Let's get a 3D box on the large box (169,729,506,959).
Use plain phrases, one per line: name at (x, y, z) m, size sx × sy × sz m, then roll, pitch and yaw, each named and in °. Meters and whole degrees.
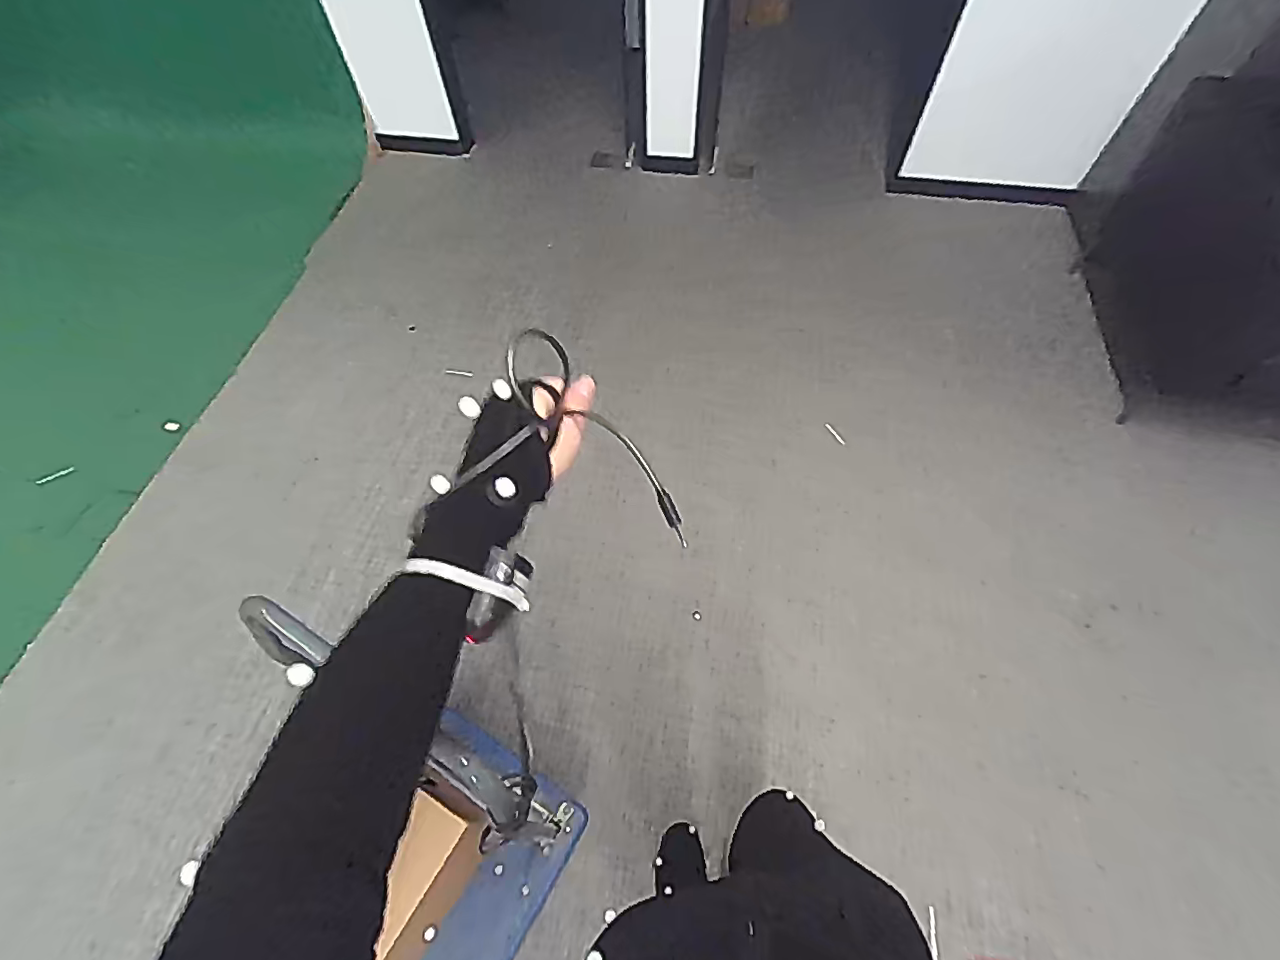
large box at (-0.517, 0.749, 1.022) m, size 0.320 × 0.320 × 0.408 m, roll 26°, pitch 64°, yaw 16°
